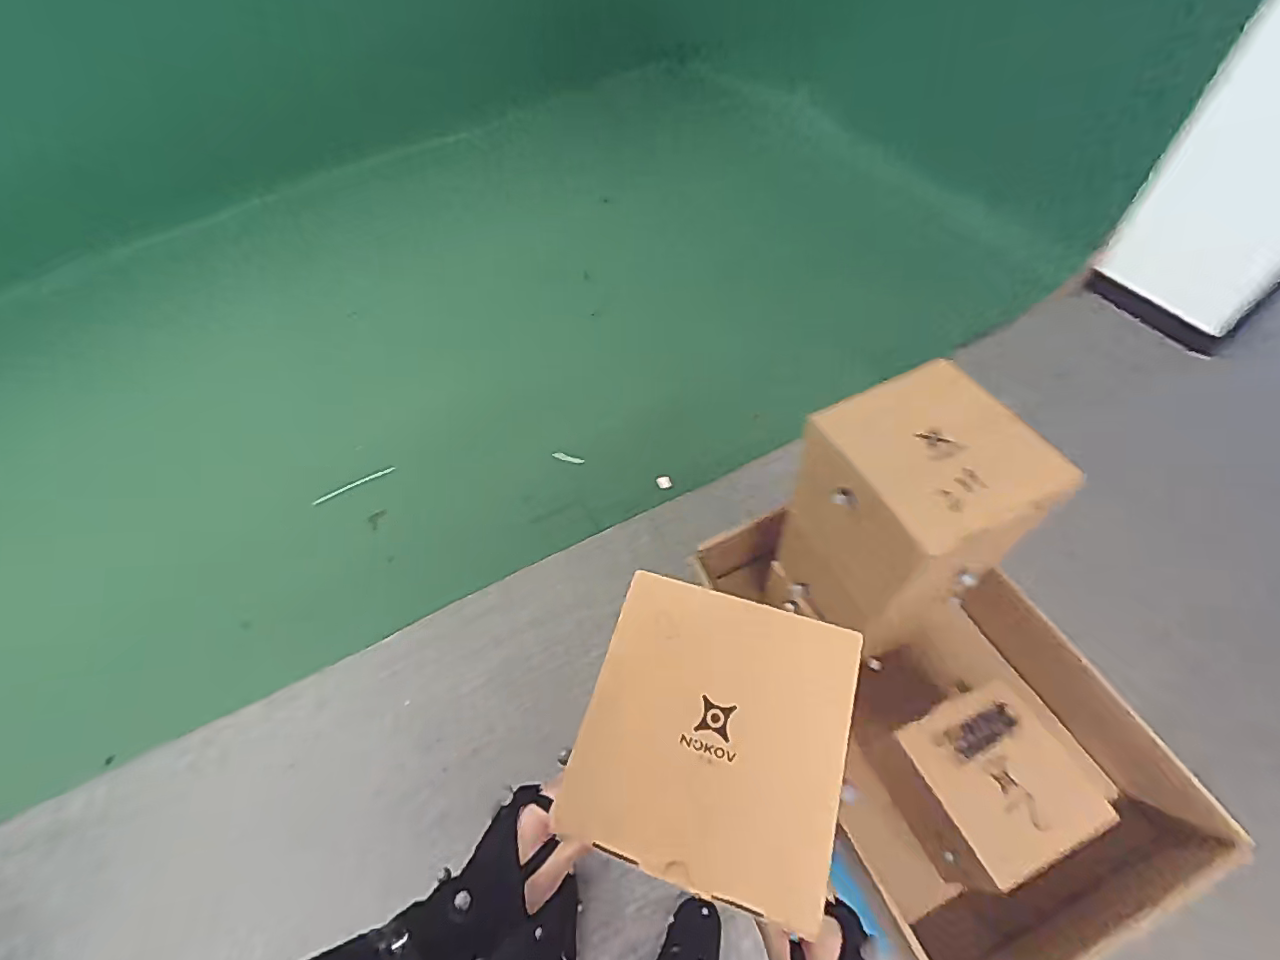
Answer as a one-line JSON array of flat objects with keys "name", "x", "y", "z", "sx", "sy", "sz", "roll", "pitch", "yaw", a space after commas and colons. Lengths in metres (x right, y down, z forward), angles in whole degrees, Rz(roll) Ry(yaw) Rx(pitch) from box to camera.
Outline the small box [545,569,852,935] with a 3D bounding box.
[{"name": "small box", "x": 0.049, "y": 0.195, "z": 0.418, "sx": 0.168, "sy": 0.176, "sz": 0.179, "roll": 13, "pitch": 64, "yaw": 13}]

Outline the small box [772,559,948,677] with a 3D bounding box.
[{"name": "small box", "x": 0.322, "y": 0.196, "z": 0.838, "sx": 0.179, "sy": 0.176, "sz": 0.168, "roll": -23, "pitch": 57, "yaw": -9}]

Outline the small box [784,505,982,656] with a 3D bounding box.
[{"name": "small box", "x": 0.310, "y": 0.103, "z": 0.704, "sx": 0.179, "sy": 0.176, "sz": 0.168, "roll": -24, "pitch": 58, "yaw": -8}]

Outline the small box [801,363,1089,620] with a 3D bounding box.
[{"name": "small box", "x": 0.290, "y": 0.016, "z": 0.567, "sx": 0.168, "sy": 0.176, "sz": 0.179, "roll": -24, "pitch": 56, "yaw": -8}]
